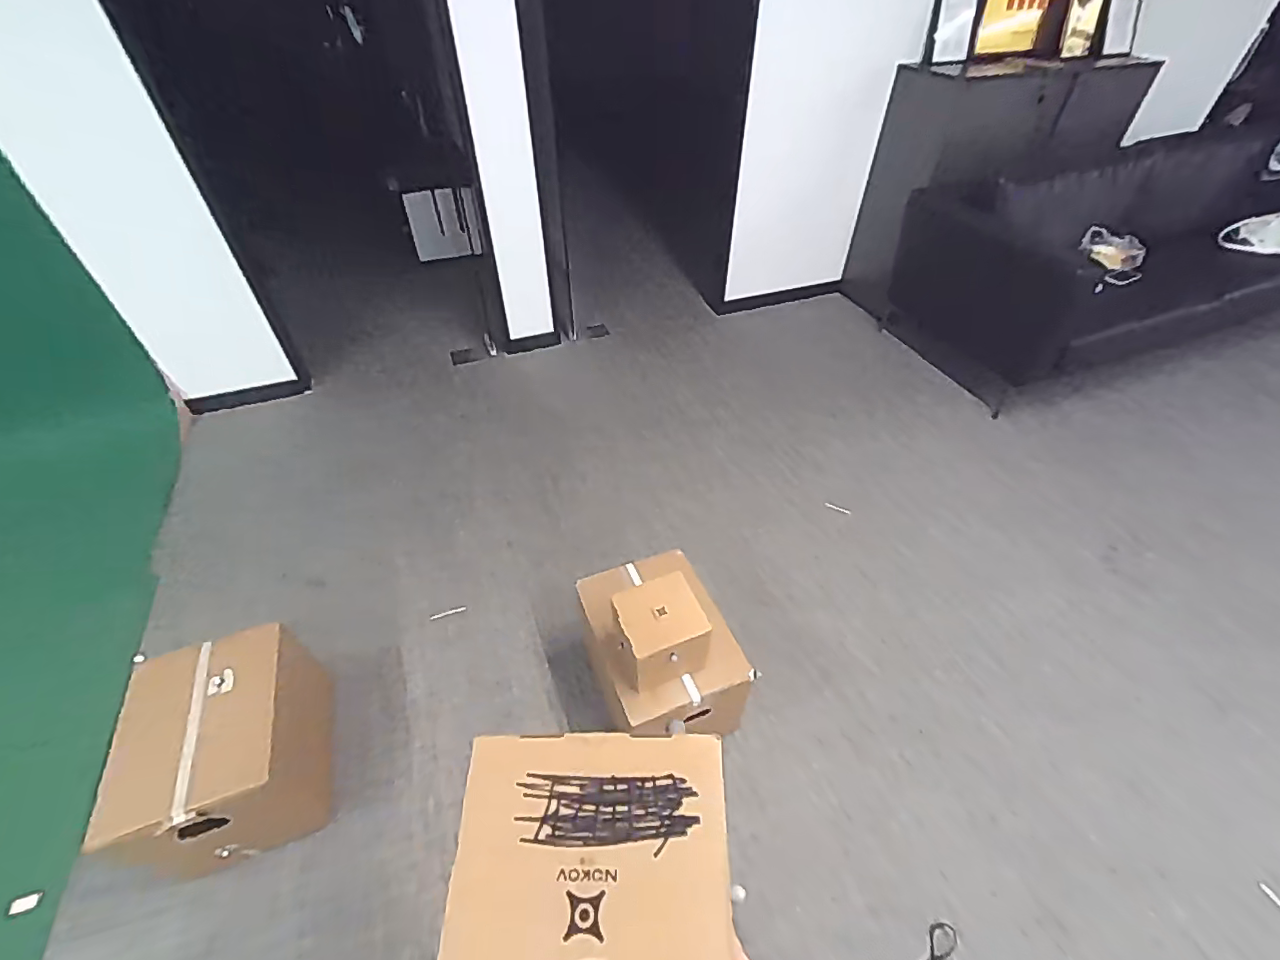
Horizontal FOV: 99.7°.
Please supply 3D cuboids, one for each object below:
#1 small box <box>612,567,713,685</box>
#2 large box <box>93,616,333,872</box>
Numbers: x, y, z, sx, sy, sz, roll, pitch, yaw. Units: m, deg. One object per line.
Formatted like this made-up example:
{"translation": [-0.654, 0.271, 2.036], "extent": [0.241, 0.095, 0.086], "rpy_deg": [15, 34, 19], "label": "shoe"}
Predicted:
{"translation": [0.047, 0.332, 1.223], "extent": [0.179, 0.176, 0.168], "rpy_deg": [-18, 48, -14], "label": "small box"}
{"translation": [-0.955, 0.611, 1.279], "extent": [0.320, 0.320, 0.408], "rpy_deg": [-16, 47, -15], "label": "large box"}
